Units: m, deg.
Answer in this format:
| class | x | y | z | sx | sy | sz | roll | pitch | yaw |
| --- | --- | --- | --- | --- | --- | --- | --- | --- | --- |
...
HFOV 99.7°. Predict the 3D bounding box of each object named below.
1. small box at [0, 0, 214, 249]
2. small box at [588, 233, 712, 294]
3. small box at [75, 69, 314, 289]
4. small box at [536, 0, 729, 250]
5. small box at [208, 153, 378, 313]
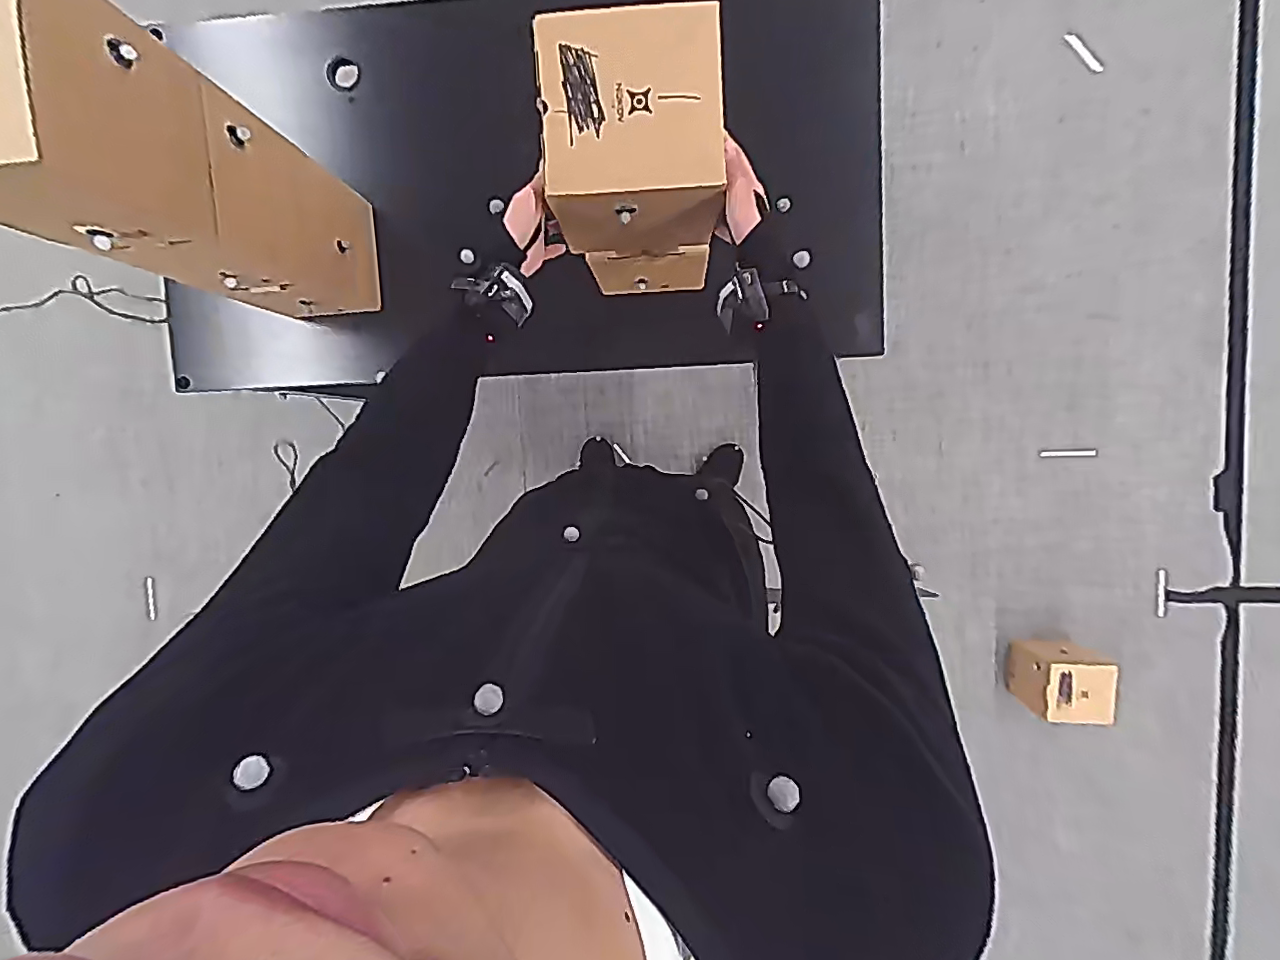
| class | x | y | z | sx | sy | sz | roll | pitch | yaw |
| --- | --- | --- | --- | --- | --- | --- | --- | --- | --- |
| small box | -0.539 | -0.334 | 0.493 | 0.168 | 0.176 | 0.179 | -3 | 95 | 5 |
| small box | 0.014 | -0.384 | 0.786 | 0.168 | 0.176 | 0.179 | -2 | 94 | 4 |
| small box | -0.531 | -0.347 | 0.656 | 0.168 | 0.176 | 0.179 | -3 | 94 | 4 |
| small box | -0.004 | -0.359 | 0.580 | 0.179 | 0.176 | 0.168 | -3 | 95 | 1 |
| small box | -0.521 | -0.358 | 0.820 | 0.168 | 0.176 | 0.179 | -4 | 95 | 3 |
